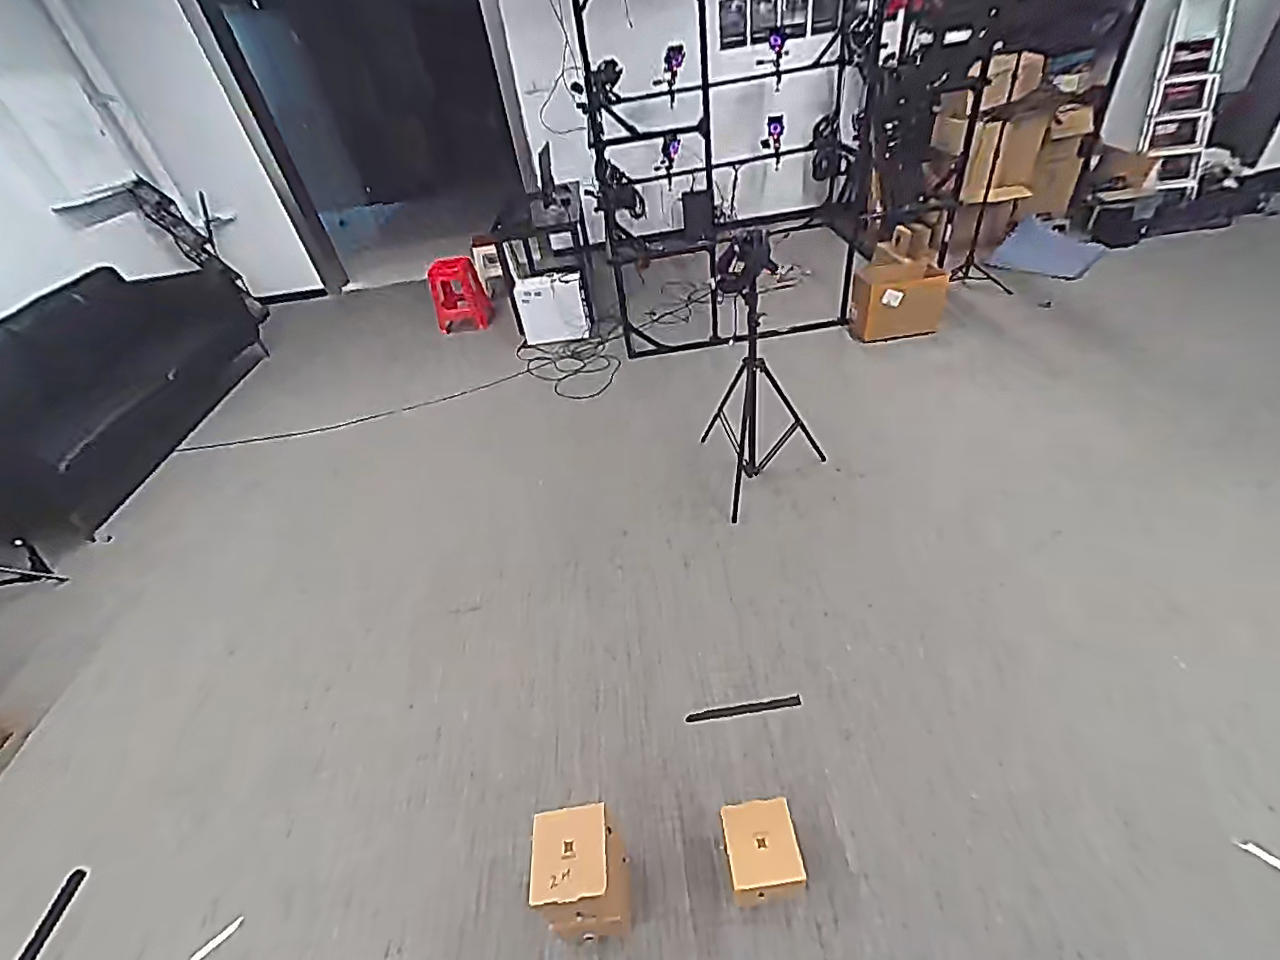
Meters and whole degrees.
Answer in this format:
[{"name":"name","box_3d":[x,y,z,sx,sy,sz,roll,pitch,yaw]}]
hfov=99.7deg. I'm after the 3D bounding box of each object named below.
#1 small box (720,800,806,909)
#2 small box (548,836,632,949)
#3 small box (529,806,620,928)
[{"name":"small box","box_3d":[0.295,0.915,1.315,0.168,0.176,0.179,-9,39,0]},{"name":"small box","box_3d":[-0.117,0.994,1.305,0.168,0.176,0.179,-10,39,2]},{"name":"small box","box_3d":[-0.141,0.864,1.207,0.168,0.176,0.179,-10,40,2]}]
